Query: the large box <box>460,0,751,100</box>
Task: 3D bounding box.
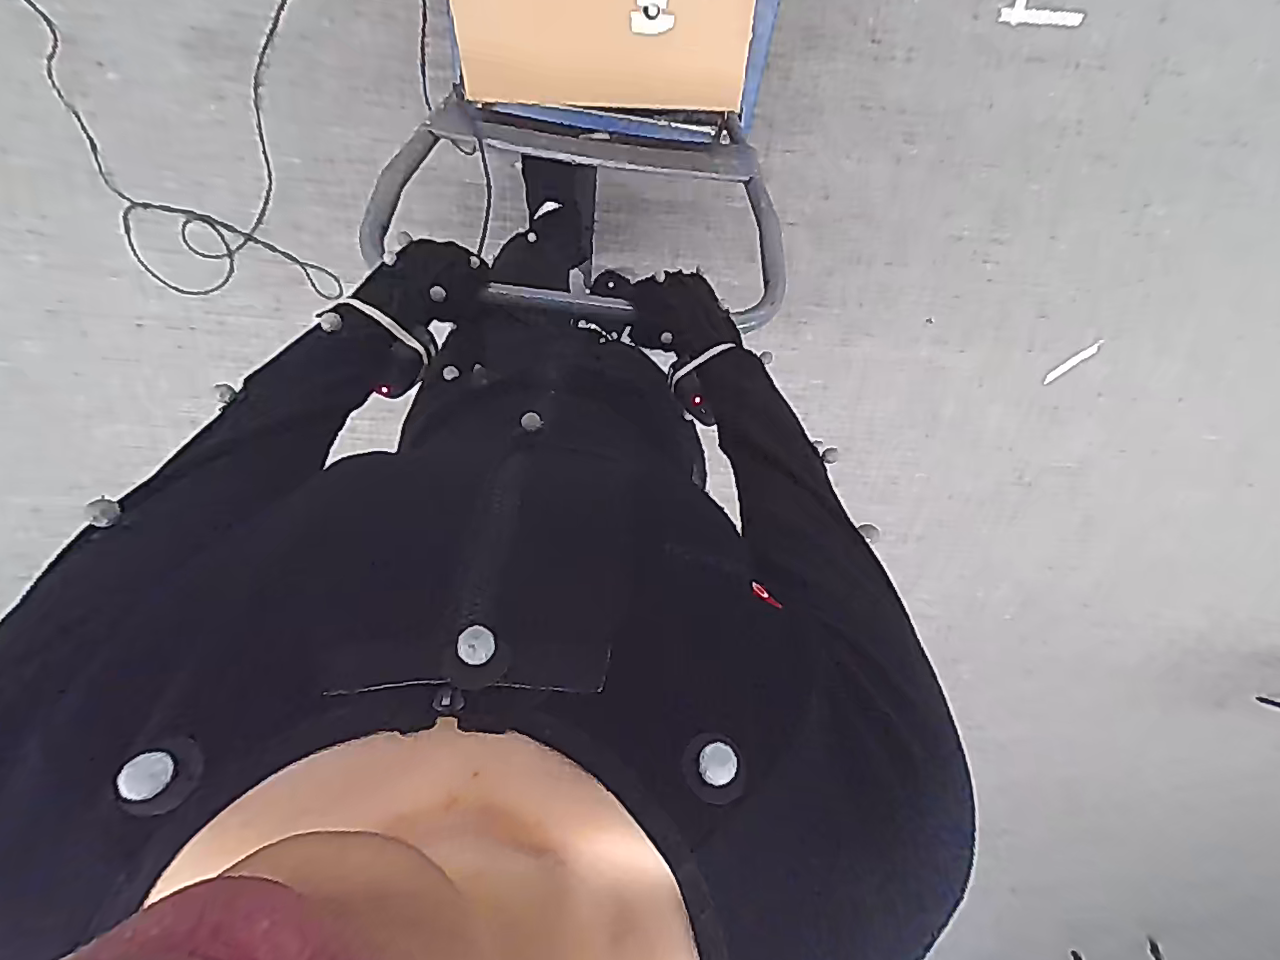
[{"bbox_3d":[-0.050,-0.785,0.803,0.408,0.320,0.320,0,137,-2],"label":"large box"}]
